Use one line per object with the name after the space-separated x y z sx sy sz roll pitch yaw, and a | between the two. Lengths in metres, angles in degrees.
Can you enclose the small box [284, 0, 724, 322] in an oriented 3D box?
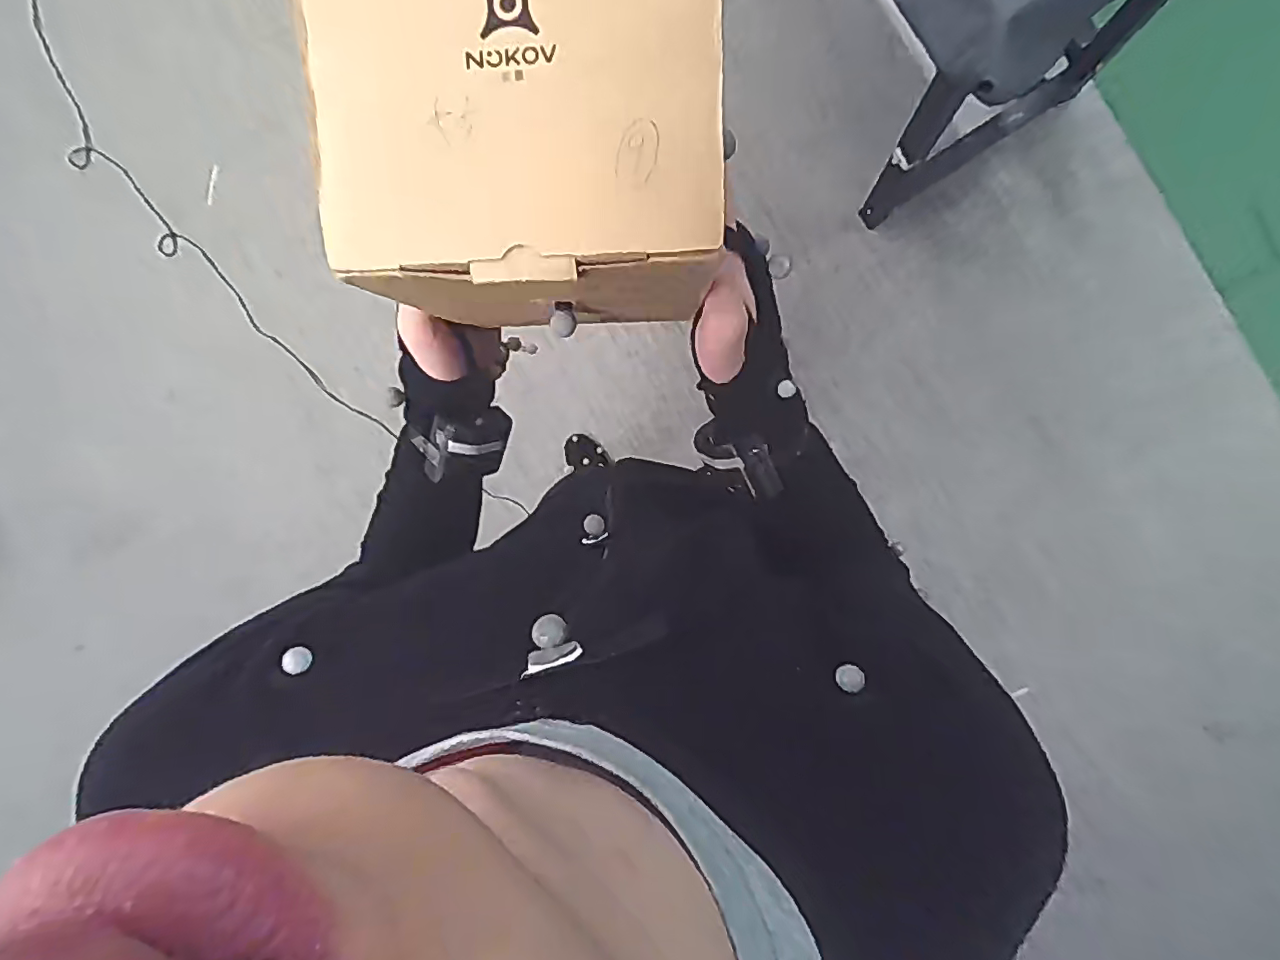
-0.047 -0.178 0.280 0.168 0.176 0.179 -2 99 1 | small box
